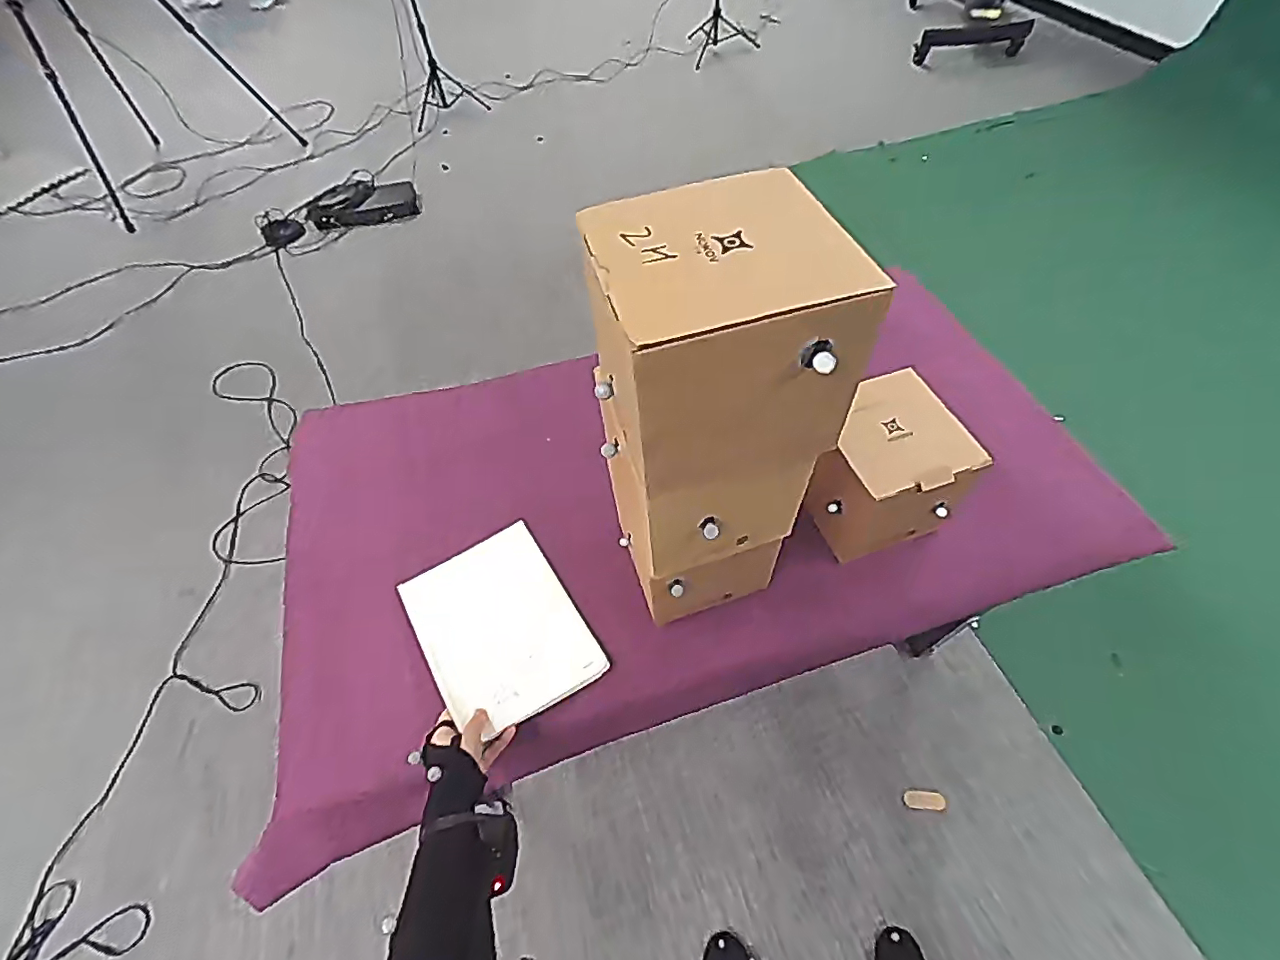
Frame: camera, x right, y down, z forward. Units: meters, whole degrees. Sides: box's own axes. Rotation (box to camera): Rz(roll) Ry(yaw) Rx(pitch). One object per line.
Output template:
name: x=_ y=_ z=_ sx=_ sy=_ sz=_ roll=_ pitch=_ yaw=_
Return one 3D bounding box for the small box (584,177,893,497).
small box: x=0.063 y=-0.110 z=0.443 sx=0.179 sy=0.176 sz=0.168 roll=-15 pitch=55 yaw=-5

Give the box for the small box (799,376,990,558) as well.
small box: x=0.328 y=-0.009 z=0.754 sx=0.168 sy=0.176 sz=0.179 roll=-16 pitch=55 yaw=-8

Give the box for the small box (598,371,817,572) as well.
small box: x=0.064 y=-0.019 z=0.581 sx=0.168 sy=0.176 sz=0.179 roll=-16 pitch=55 yaw=-7
